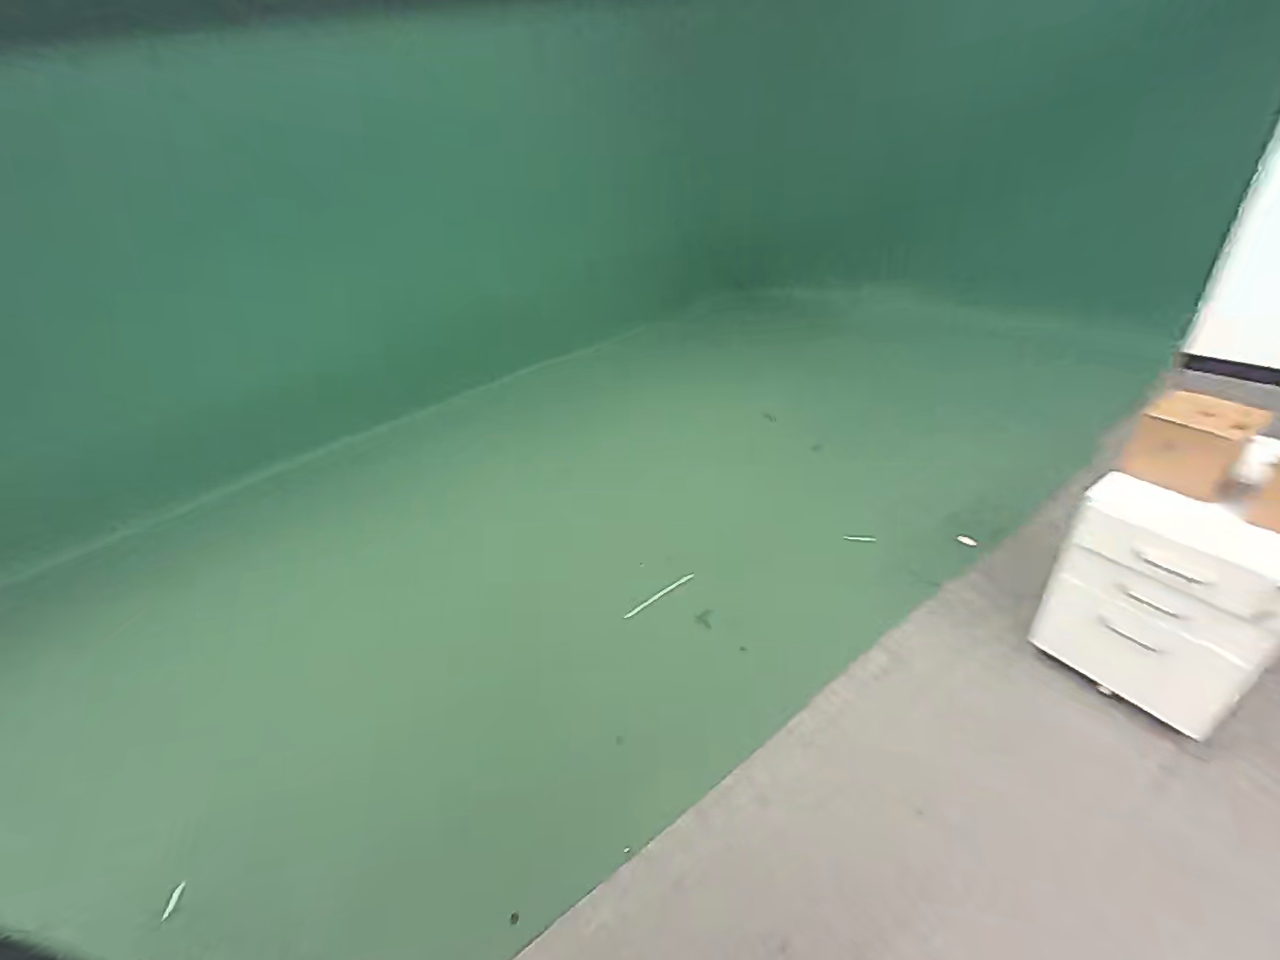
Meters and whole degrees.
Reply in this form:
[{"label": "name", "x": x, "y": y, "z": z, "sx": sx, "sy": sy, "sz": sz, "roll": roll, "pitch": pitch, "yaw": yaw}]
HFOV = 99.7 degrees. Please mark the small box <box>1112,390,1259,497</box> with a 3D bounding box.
[{"label": "small box", "x": 1.273, "y": -0.086, "z": 1.277, "sx": 0.168, "sy": 0.176, "sz": 0.179, "roll": -28, "pitch": 39, "yaw": -22}]
